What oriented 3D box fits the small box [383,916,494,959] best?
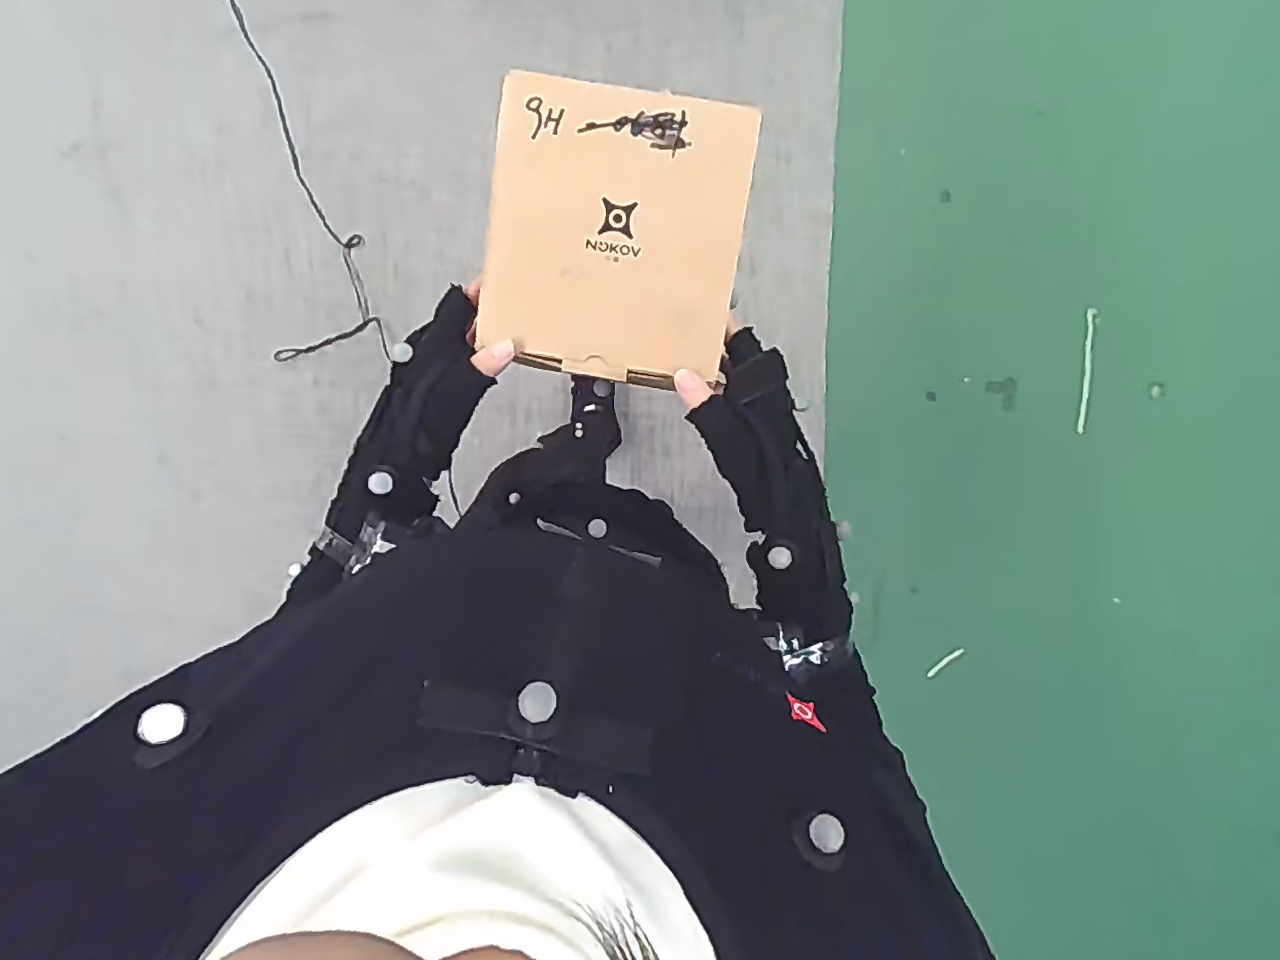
[{"bbox_3d":[-0.373,0.925,0.965,0.179,0.176,0.168,2,93,1],"label":"small box"}]

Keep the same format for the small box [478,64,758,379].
[{"bbox_3d":[-0.014,-0.177,0.428,0.168,0.176,0.179,9,100,1],"label":"small box"}]

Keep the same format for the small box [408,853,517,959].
[{"bbox_3d":[-0.362,0.919,1.129,0.179,0.176,0.168,1,93,4],"label":"small box"}]
